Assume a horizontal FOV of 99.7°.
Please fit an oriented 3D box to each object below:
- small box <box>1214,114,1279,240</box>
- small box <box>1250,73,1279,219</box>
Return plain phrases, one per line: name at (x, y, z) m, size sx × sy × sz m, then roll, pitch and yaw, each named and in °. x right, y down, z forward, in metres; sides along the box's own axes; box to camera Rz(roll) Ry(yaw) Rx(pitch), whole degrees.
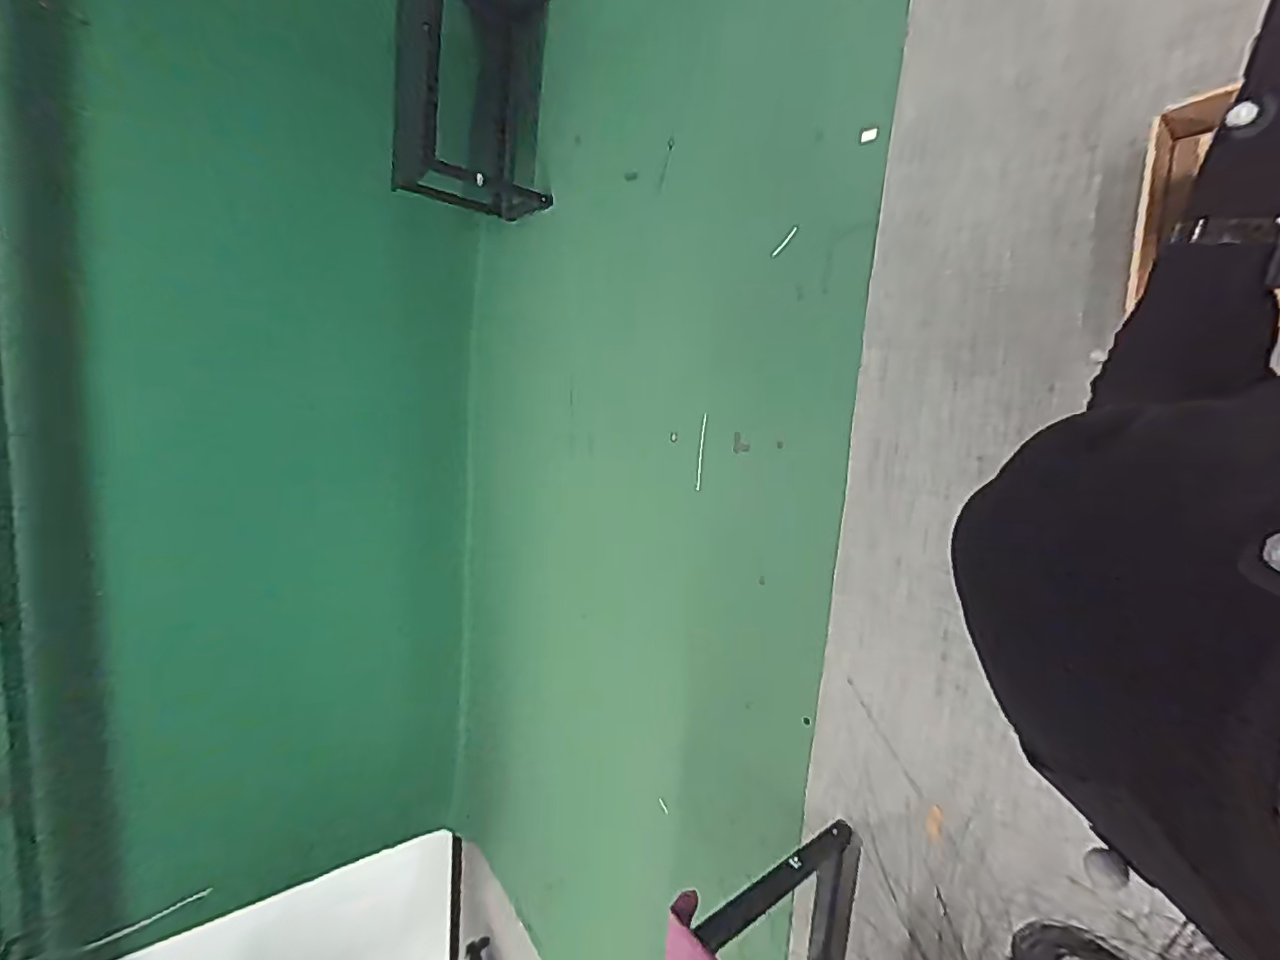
small box at (1.107, -0.523, 0.906) m, size 0.179 × 0.176 × 0.168 m, roll 5°, pitch 98°, yaw 51°
small box at (1.006, -0.493, 0.771) m, size 0.168 × 0.176 × 0.179 m, roll 3°, pitch 95°, yaw 51°
